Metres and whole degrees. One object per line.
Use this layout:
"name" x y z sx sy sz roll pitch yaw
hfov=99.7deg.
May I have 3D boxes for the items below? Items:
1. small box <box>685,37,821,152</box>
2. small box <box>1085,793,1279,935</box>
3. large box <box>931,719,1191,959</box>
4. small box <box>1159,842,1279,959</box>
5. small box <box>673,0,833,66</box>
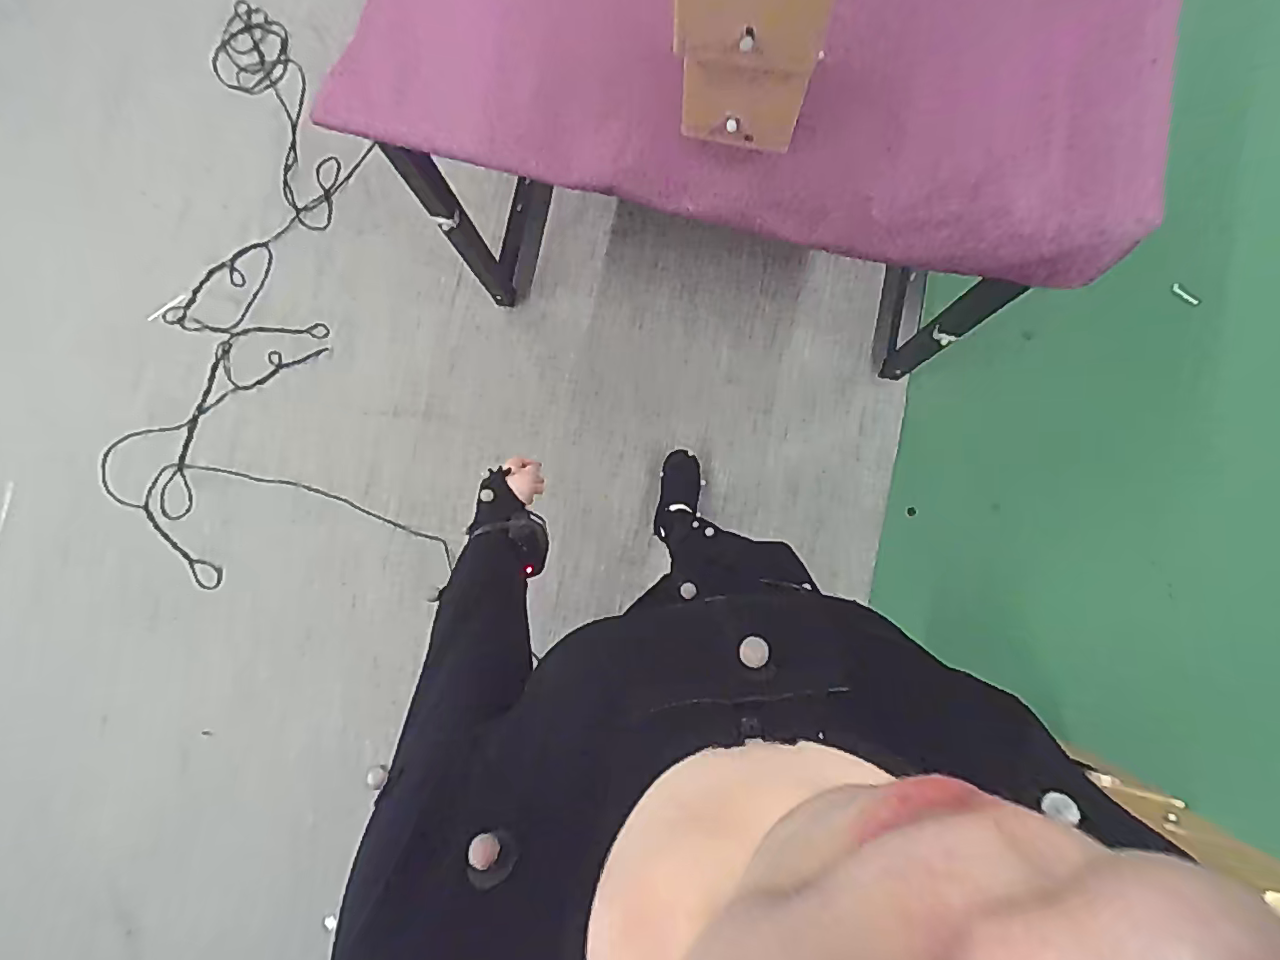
"small box" 0.158 -0.601 0.746 0.168 0.176 0.179 13 85 5
"small box" 0.969 0.704 0.979 0.179 0.176 0.168 14 86 5
"large box" 0.909 0.820 1.214 0.320 0.320 0.408 14 86 5
"small box" 0.957 0.690 0.815 0.179 0.176 0.168 13 85 5
"small box" 0.135 -0.593 0.582 0.179 0.176 0.168 10 85 5
